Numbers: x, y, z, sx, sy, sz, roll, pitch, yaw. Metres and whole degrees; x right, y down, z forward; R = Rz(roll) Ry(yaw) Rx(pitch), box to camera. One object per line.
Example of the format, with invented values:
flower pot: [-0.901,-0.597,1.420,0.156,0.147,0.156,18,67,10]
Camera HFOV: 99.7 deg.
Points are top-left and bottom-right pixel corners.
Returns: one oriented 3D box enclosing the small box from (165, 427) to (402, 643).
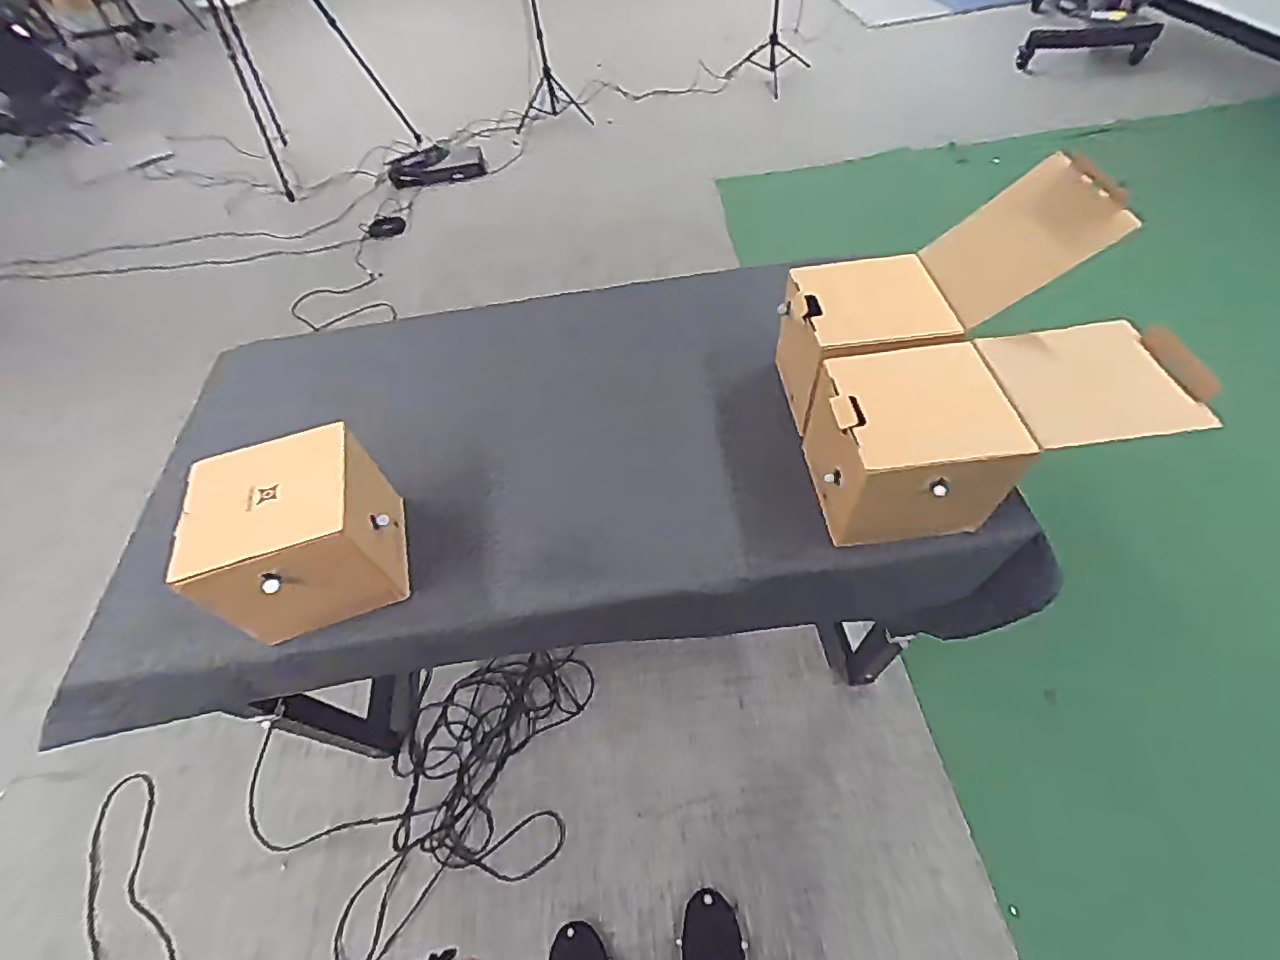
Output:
small box: [-0.403,0.070,0.650,0.179,0.176,0.168,-18,54,-7]
